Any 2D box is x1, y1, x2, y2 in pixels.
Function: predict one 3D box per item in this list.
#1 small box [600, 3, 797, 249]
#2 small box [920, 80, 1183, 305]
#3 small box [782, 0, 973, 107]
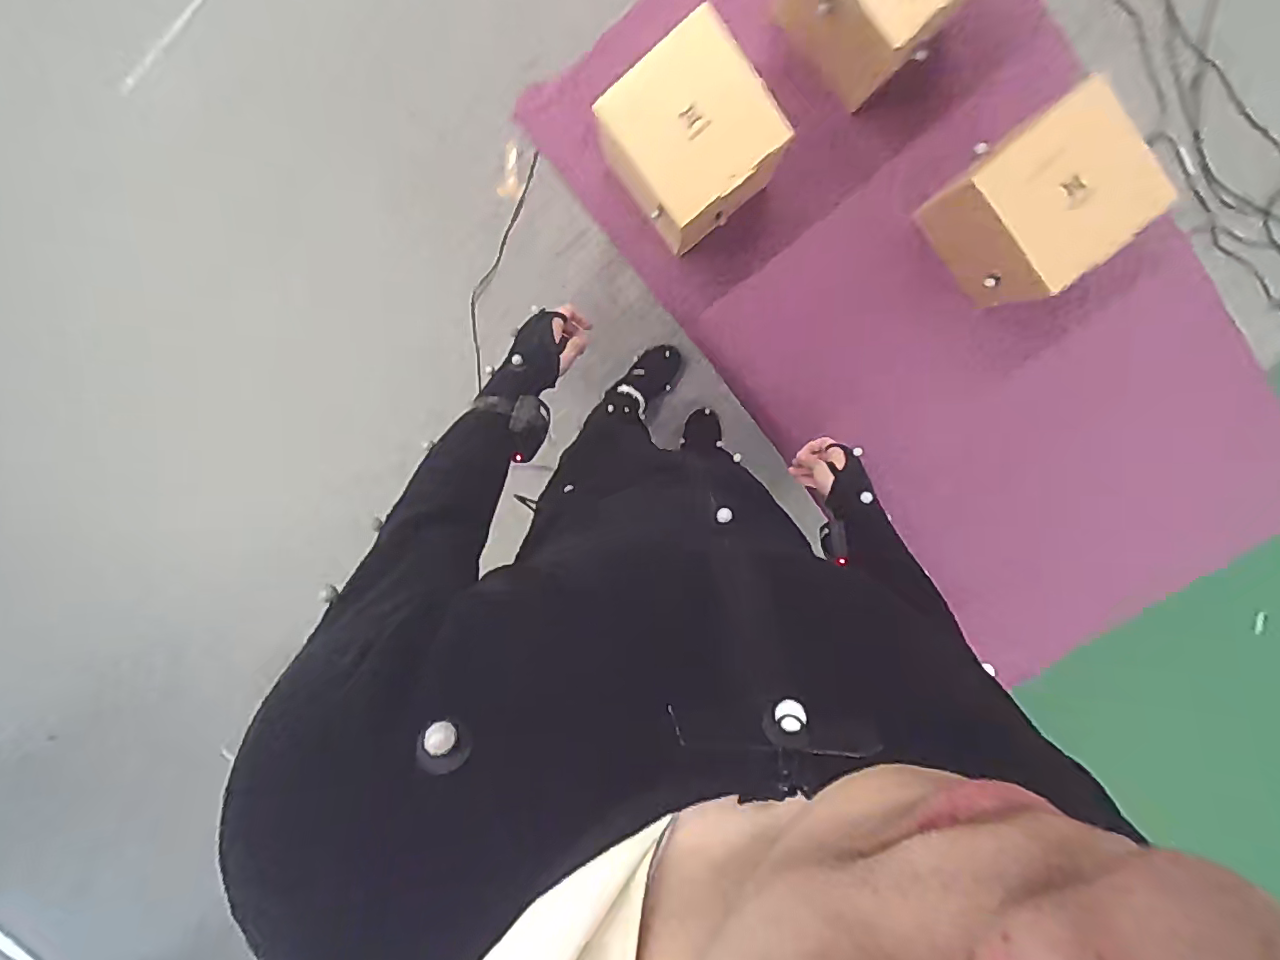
[{"bbox_3d":[0.068,-0.432,0.699,0.168,0.176,0.179,-37,99,9],"label":"small box"},{"bbox_3d":[0.507,-0.345,0.696,0.168,0.176,0.179,-39,97,10],"label":"small box"},{"bbox_3d":[0.296,-0.605,0.648,0.168,0.176,0.179,-40,98,11],"label":"small box"}]
